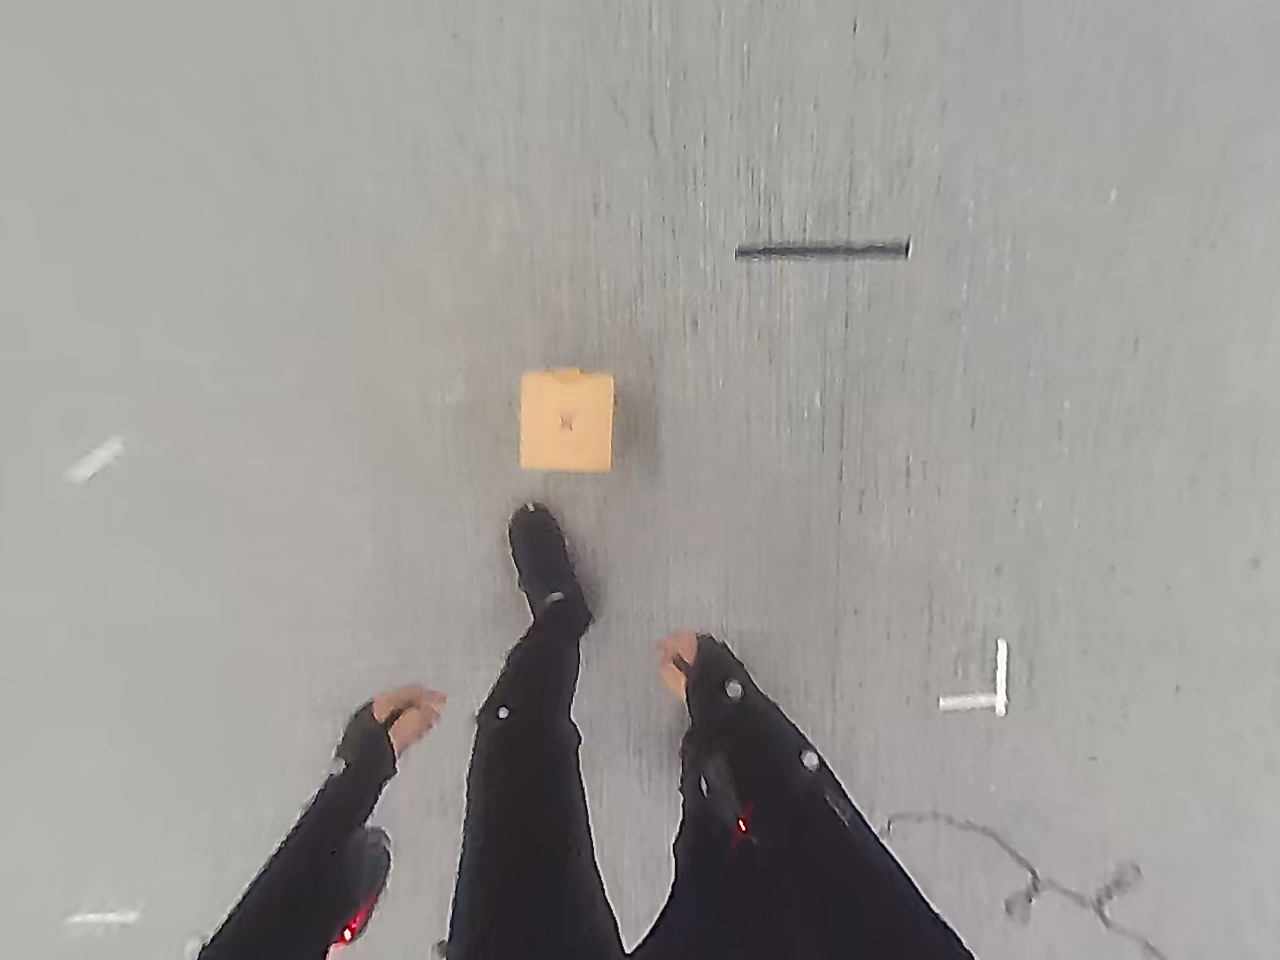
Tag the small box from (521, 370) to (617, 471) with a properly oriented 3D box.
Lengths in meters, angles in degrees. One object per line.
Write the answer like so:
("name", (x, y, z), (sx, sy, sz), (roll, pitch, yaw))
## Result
("small box", (-0.131, -0.113, 1.053), (0.168, 0.176, 0.179), (2, 95, -1))
